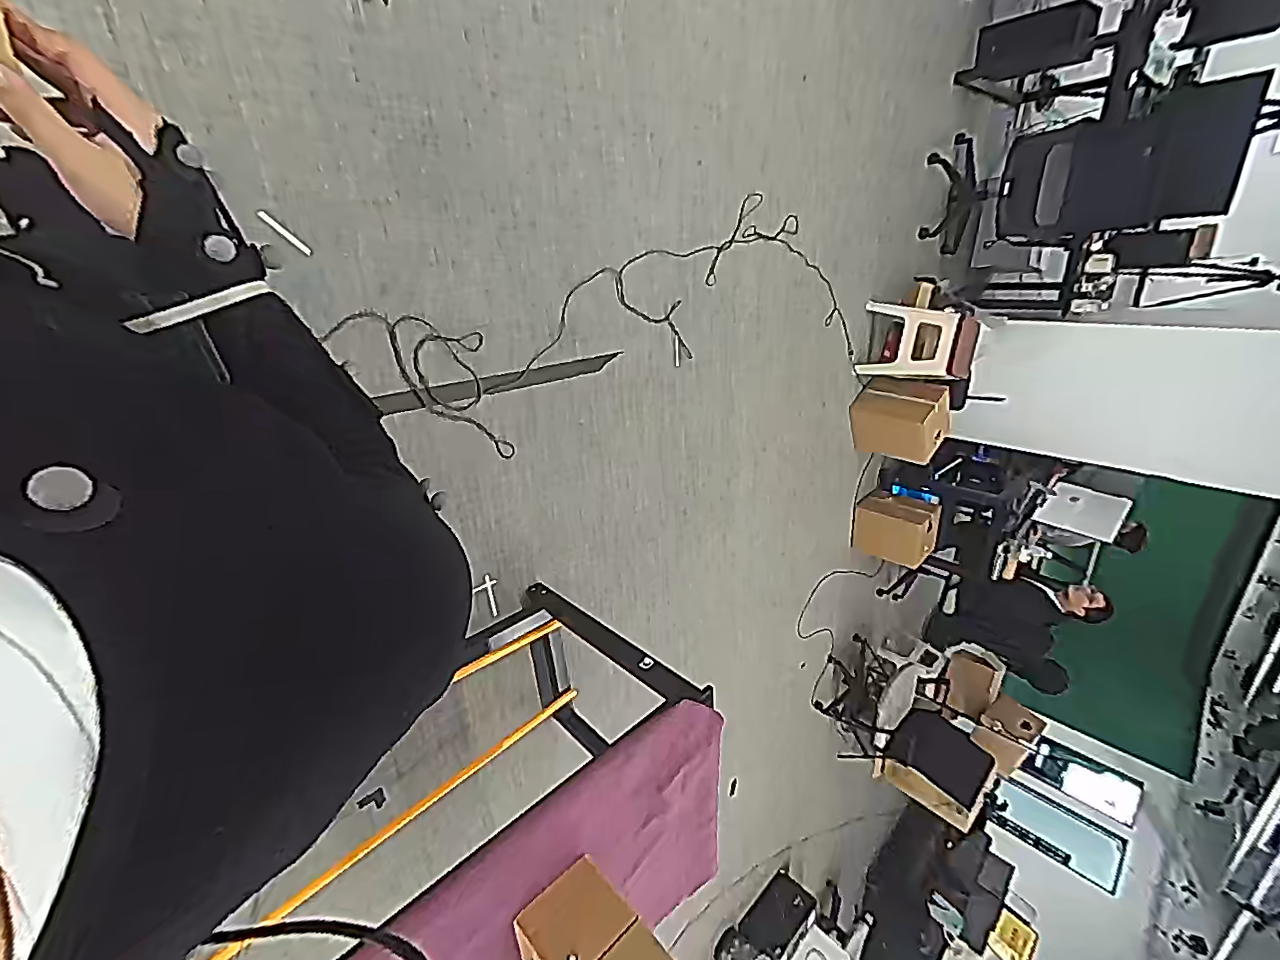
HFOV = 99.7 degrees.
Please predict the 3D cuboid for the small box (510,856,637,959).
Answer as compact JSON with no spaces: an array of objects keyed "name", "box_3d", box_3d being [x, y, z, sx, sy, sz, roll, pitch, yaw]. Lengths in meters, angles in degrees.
[{"name":"small box","box_3d":[-0.125,0.884,1.039,0.179,0.176,0.168,-22,119,-38]}]
